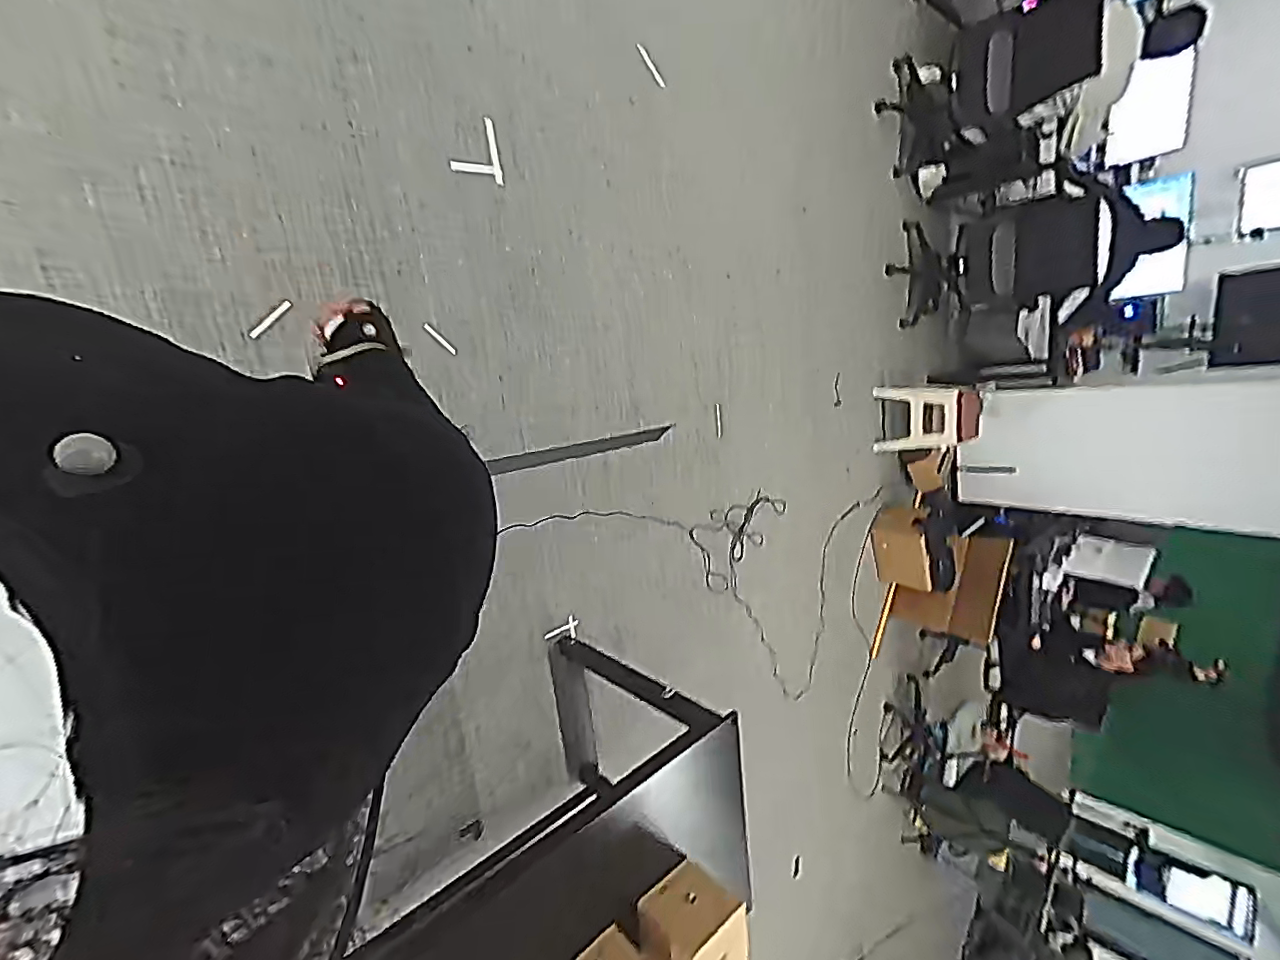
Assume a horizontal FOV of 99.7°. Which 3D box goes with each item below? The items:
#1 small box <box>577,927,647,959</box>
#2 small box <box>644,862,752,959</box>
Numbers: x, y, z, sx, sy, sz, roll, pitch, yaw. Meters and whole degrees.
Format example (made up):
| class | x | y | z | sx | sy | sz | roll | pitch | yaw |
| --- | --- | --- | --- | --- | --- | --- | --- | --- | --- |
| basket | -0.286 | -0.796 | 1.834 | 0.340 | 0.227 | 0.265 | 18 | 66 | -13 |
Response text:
| class | x | y | z | sx | sy | sz | roll | pitch | yaw |
| --- | --- | --- | --- | --- | --- | --- | --- | --- | --- |
| small box | -0.043 | 1.020 | 1.025 | 0.168 | 0.176 | 0.179 | -18 | 105 | -39 |
| small box | 0.123 | 0.977 | 1.169 | 0.168 | 0.176 | 0.179 | -13 | 103 | -39 |
